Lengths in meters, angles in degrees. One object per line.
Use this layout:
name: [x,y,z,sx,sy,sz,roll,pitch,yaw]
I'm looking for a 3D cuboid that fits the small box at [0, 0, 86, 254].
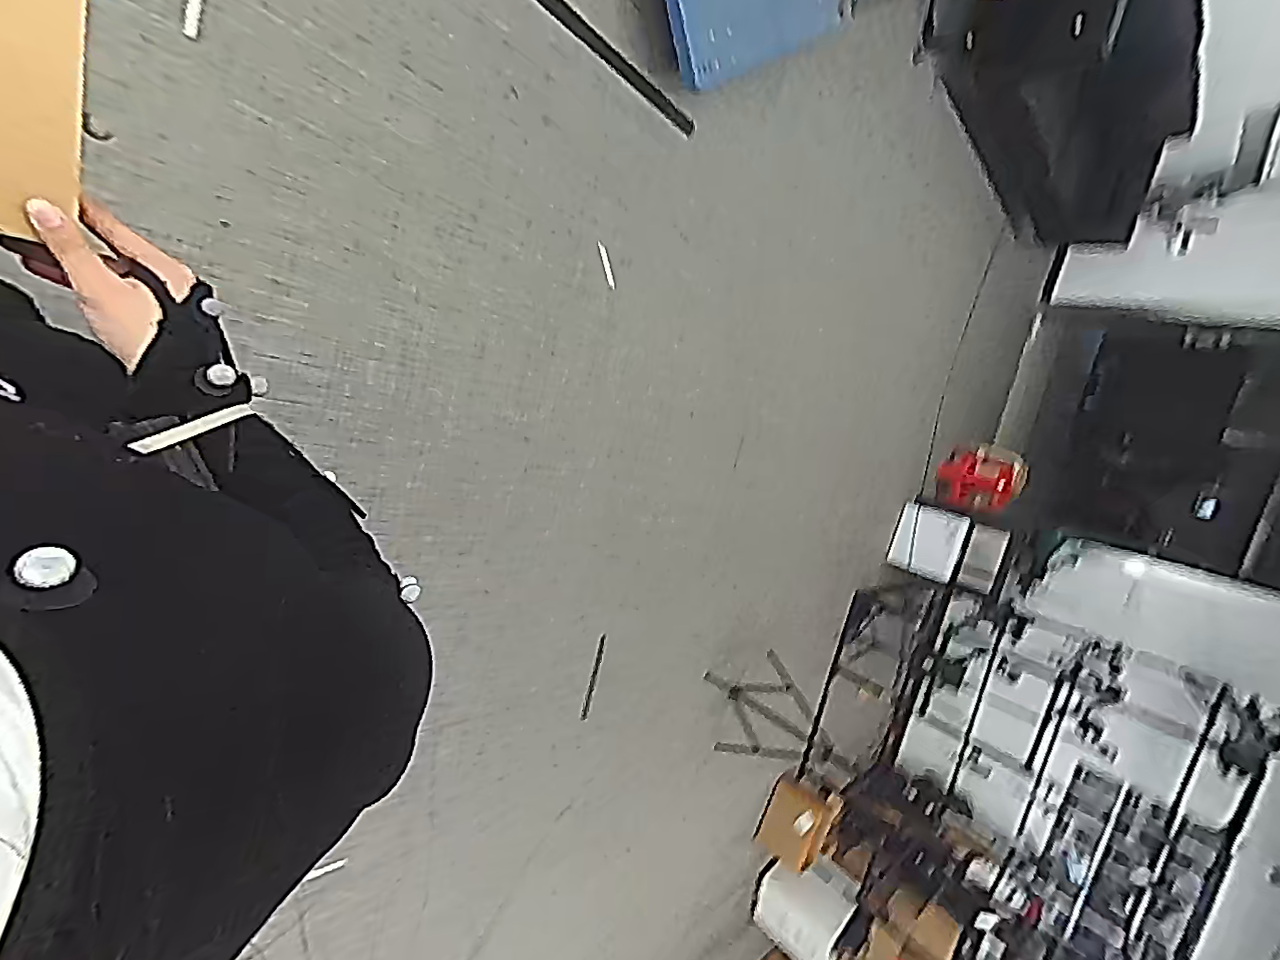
small box: [-0.434,-0.244,0.293,0.168,0.176,0.179,-1,110,-53]
